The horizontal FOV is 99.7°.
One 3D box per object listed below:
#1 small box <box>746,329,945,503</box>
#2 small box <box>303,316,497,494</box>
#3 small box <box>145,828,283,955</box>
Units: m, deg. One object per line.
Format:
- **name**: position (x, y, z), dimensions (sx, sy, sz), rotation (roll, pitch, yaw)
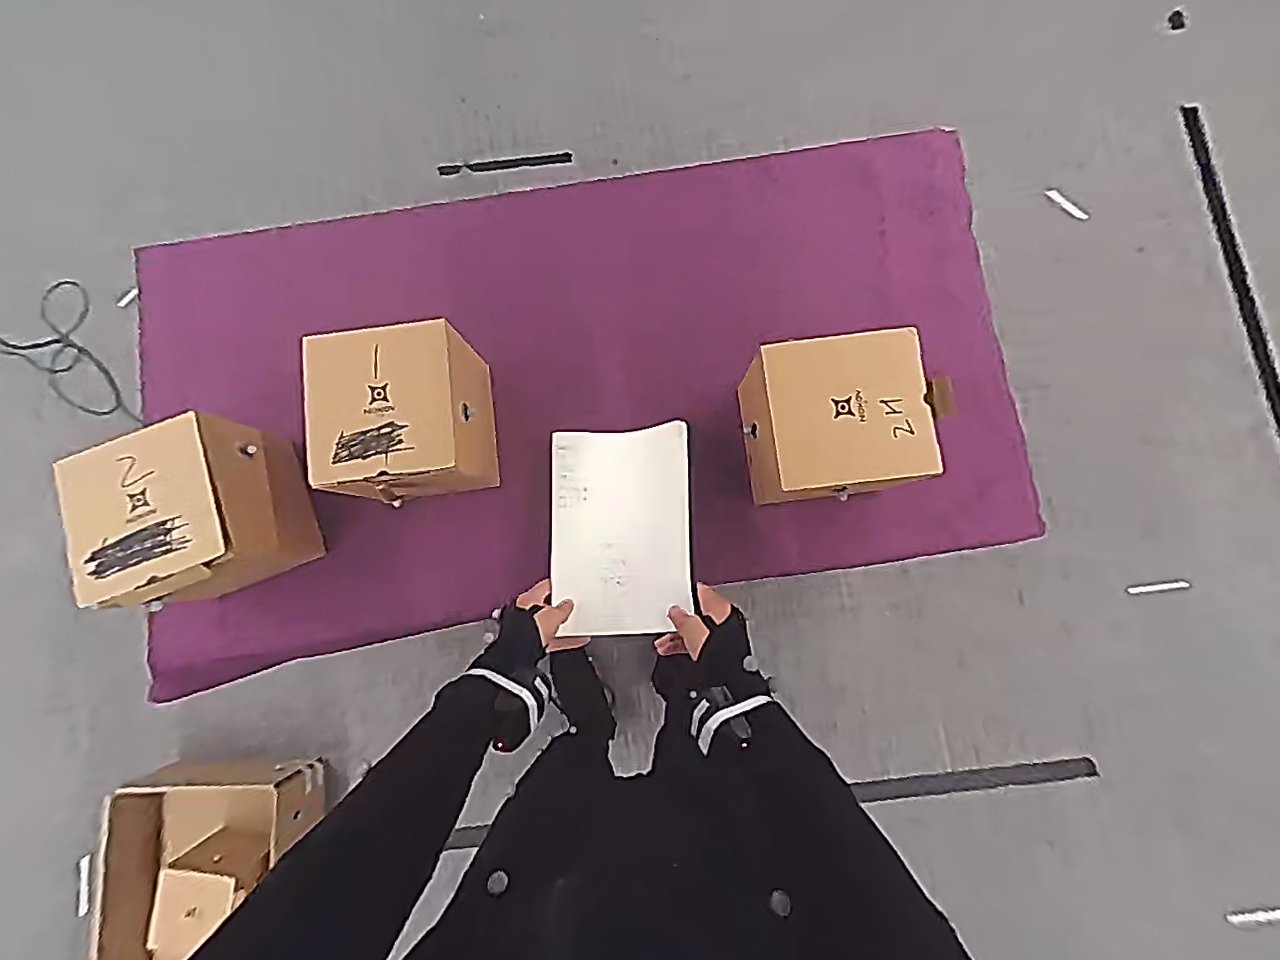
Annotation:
- **small box**: position (0.229, -0.065, 0.655), dimensions (0.179, 0.176, 0.168), rotation (-6, 83, 1)
- **small box**: position (-0.284, -0.079, 0.672), dimensions (0.168, 0.176, 0.179), rotation (-7, 82, 1)
- **small box**: position (-0.970, 0.937, 1.249), dimensions (0.179, 0.176, 0.168), rotation (7, 83, 2)
